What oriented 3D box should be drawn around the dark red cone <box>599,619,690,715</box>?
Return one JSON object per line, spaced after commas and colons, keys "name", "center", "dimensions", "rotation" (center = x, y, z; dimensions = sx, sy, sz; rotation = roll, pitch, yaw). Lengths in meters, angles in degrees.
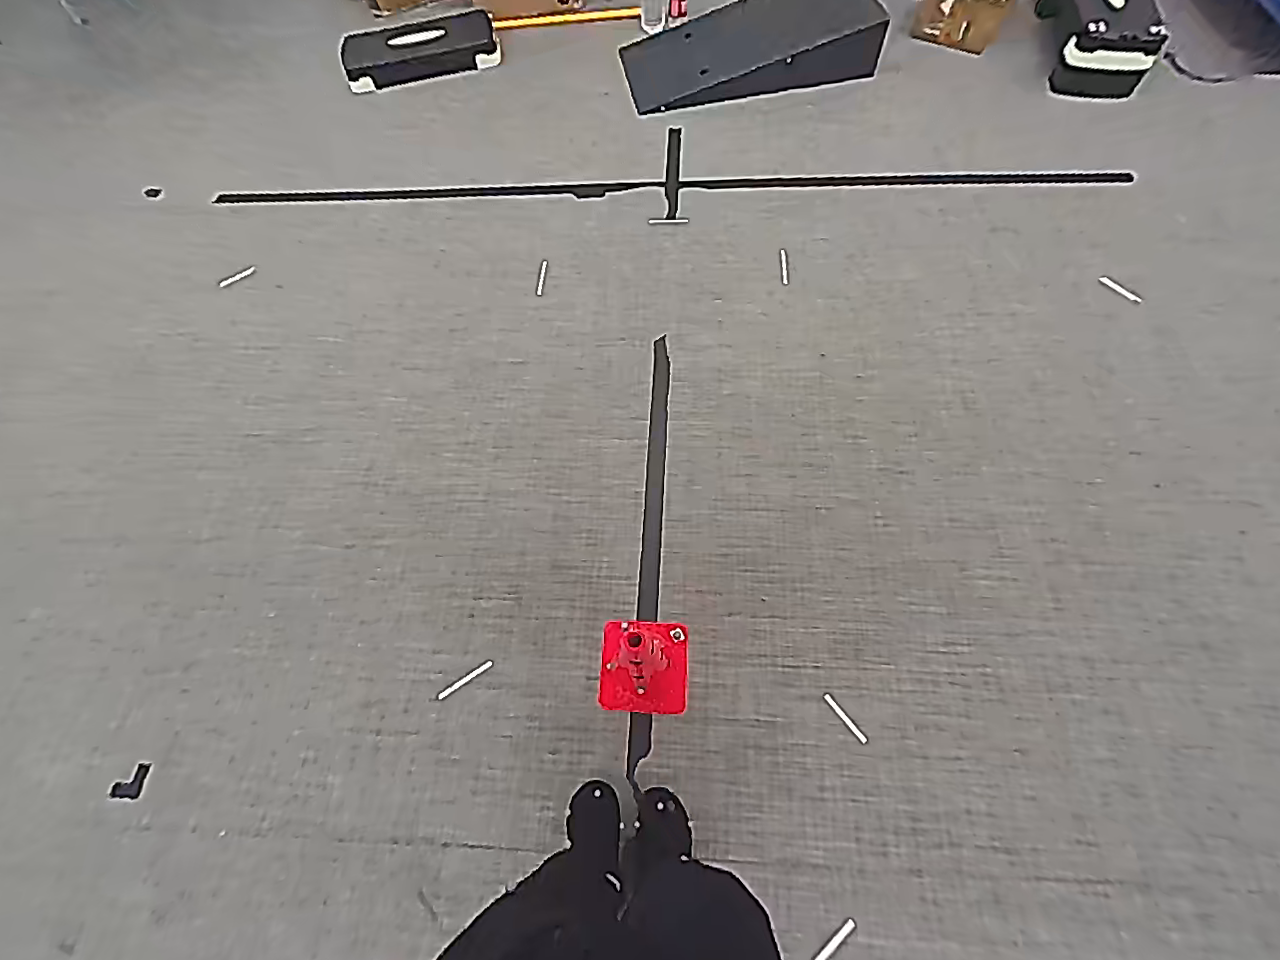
{"name": "dark red cone", "center": [-0.001, 0.346, 1.066], "dimensions": [0.201, 0.394, 0.202], "rotation": [1, 64, 5]}
